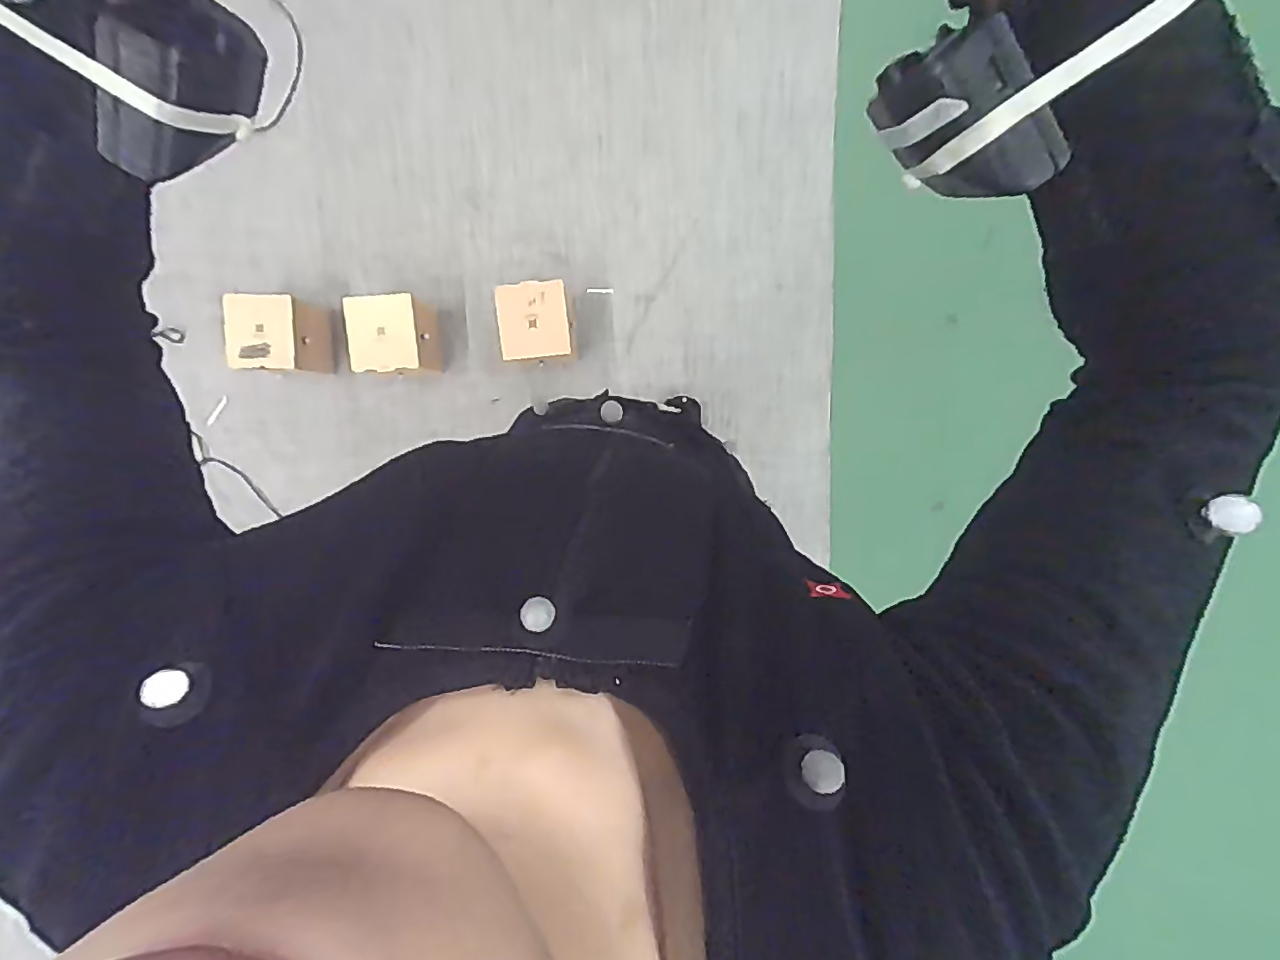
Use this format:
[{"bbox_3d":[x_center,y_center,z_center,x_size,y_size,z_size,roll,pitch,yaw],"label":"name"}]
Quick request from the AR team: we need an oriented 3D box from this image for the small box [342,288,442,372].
[{"bbox_3d":[-0.614,-0.370,1.358,0.168,0.176,0.179,-4,98,1],"label":"small box"}]

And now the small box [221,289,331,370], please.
[{"bbox_3d":[-0.905,-0.371,1.359,0.168,0.176,0.179,1,97,0],"label":"small box"}]

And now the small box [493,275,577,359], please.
[{"bbox_3d":[-0.255,-0.397,1.349,0.168,0.176,0.179,-5,98,1],"label":"small box"}]
